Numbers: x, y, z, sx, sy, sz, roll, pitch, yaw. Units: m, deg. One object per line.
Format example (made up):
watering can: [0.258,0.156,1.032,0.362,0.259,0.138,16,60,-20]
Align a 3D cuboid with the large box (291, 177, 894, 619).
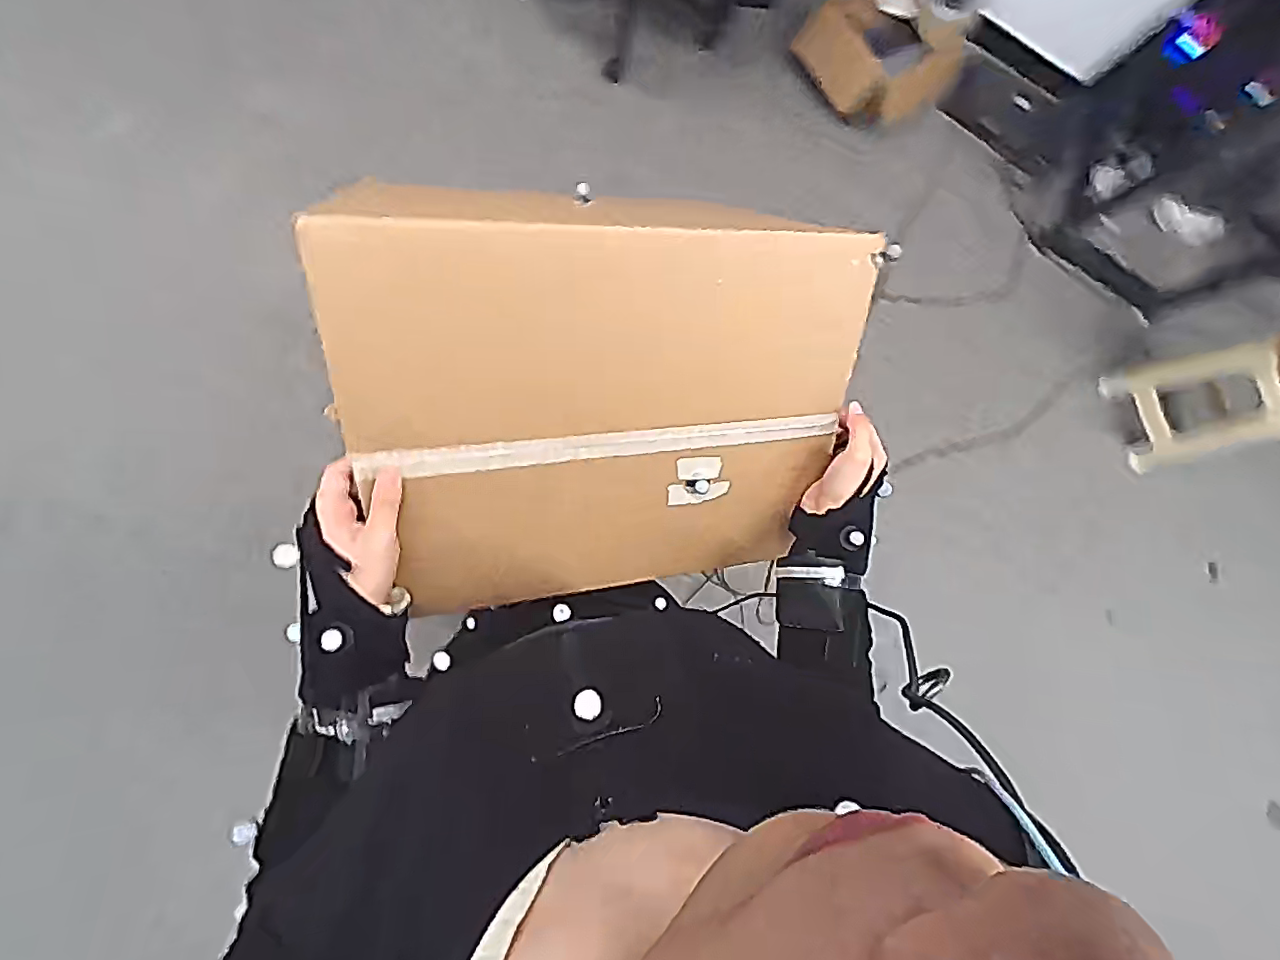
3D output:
large box: [-0.053,-0.119,0.536,0.408,0.320,0.320,-8,124,-18]
